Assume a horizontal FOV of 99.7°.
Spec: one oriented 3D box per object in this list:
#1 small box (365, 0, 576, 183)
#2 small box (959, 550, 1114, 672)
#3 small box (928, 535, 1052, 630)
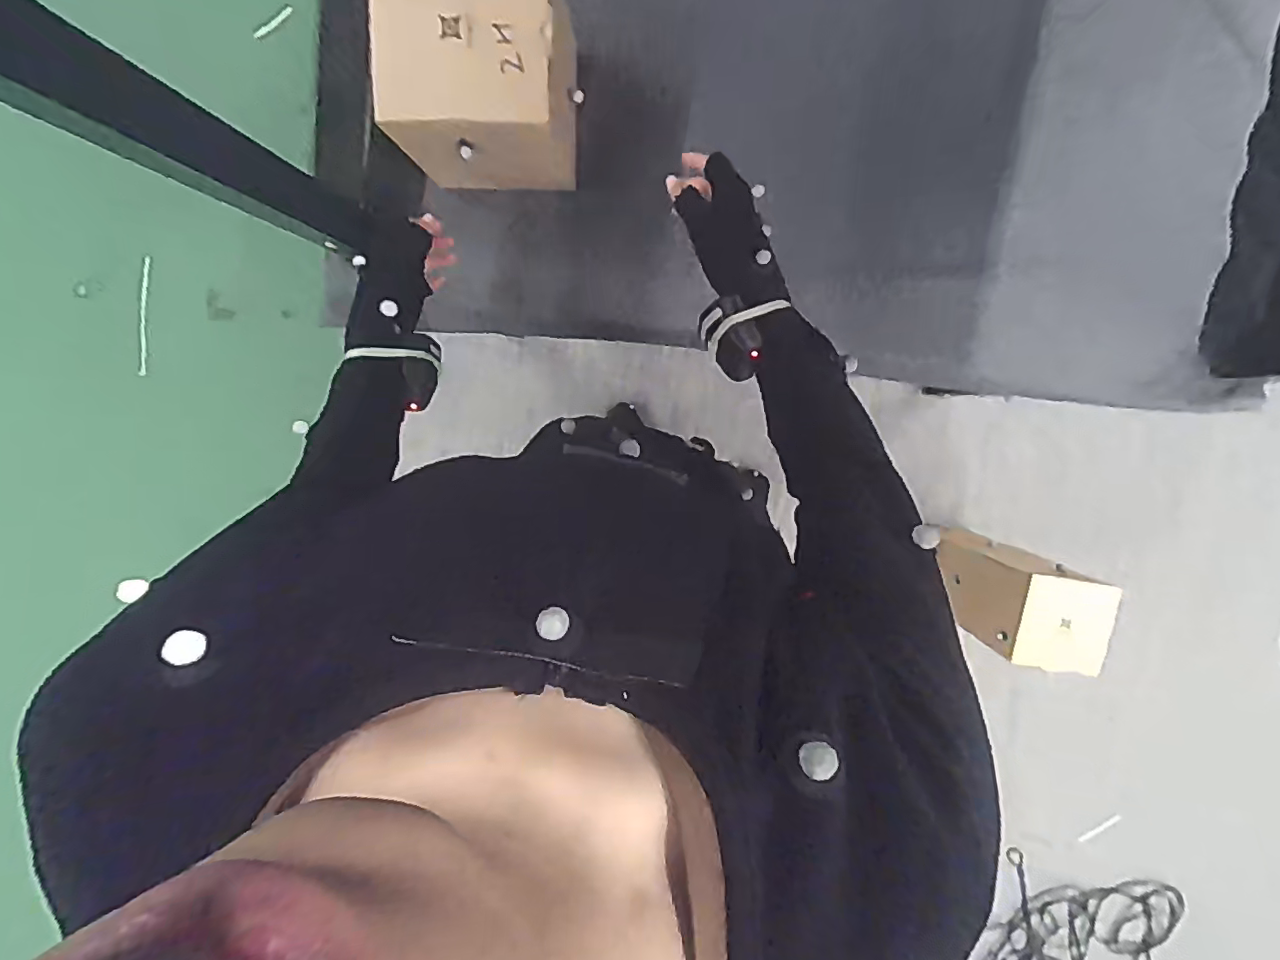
[{"bbox_3d":[-0.172,-0.442,0.590,0.179,0.176,0.168,2,99,1],"label":"small box"},{"bbox_3d":[0.768,0.249,1.069,0.168,0.176,0.179,9,99,1],"label":"small box"},{"bbox_3d":[0.786,0.234,1.232,0.168,0.176,0.179,6,97,1],"label":"small box"}]
